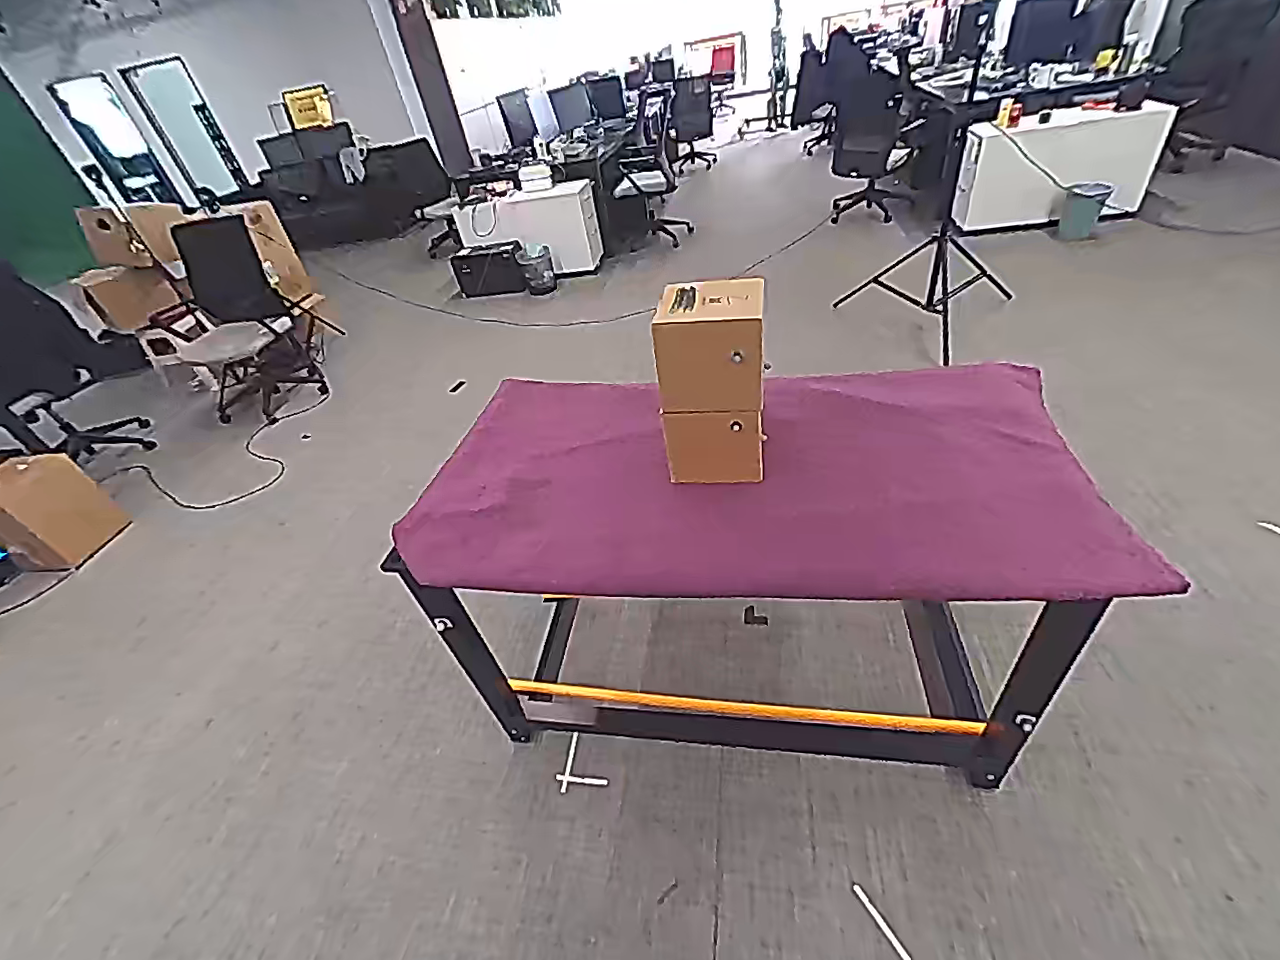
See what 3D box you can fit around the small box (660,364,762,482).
[{"bbox_3d":[0.145,-0.107,1.051,0.179,0.176,0.168,-1,40,12],"label":"small box"}]
